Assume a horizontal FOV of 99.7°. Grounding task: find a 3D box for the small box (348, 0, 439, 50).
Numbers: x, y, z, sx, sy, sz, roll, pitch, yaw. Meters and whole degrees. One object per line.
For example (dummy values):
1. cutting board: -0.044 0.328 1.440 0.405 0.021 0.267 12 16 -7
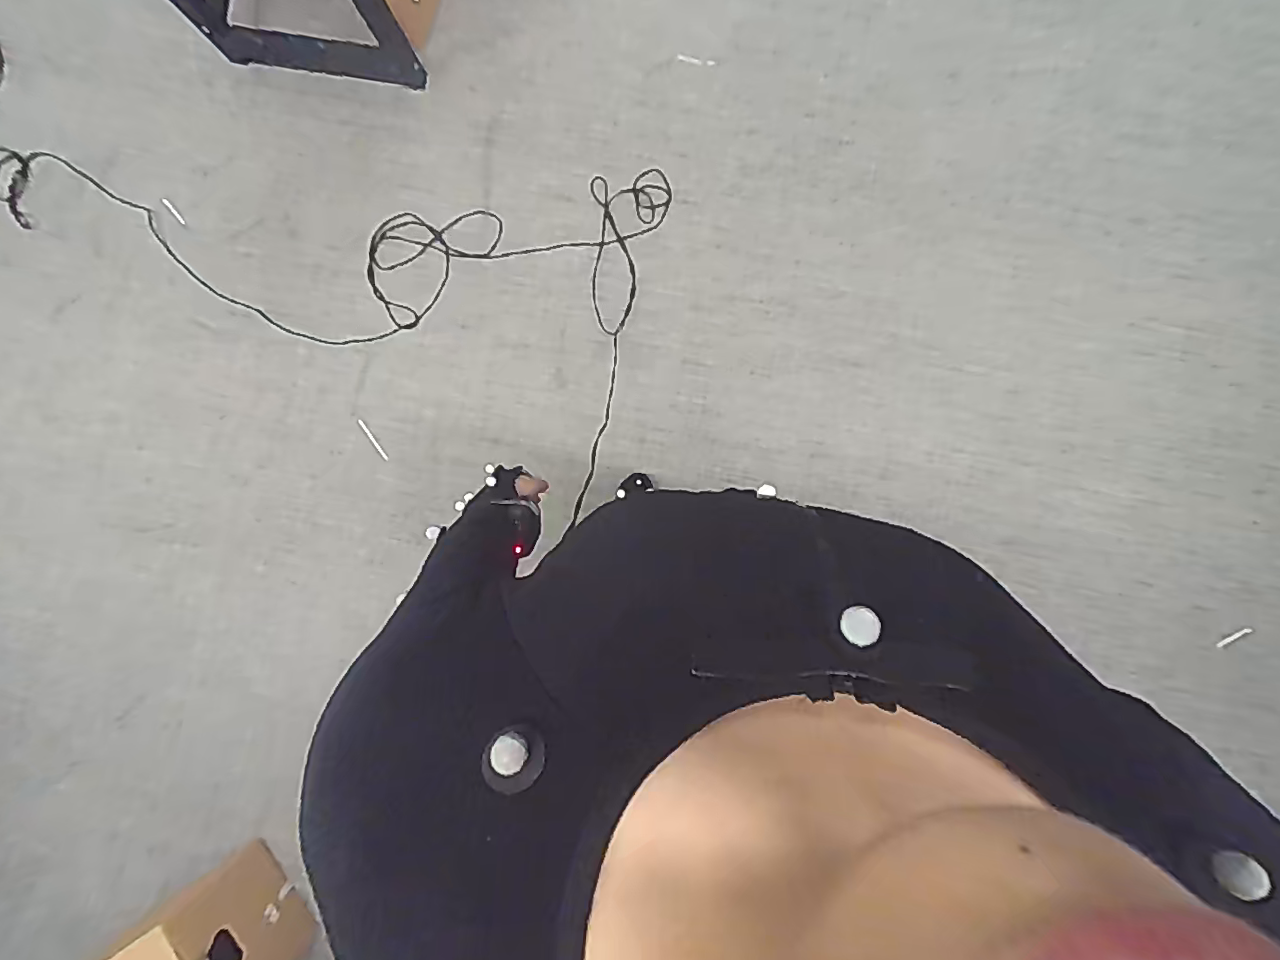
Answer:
1. small box: -0.670 -1.319 1.453 0.168 0.176 0.179 23 91 2
